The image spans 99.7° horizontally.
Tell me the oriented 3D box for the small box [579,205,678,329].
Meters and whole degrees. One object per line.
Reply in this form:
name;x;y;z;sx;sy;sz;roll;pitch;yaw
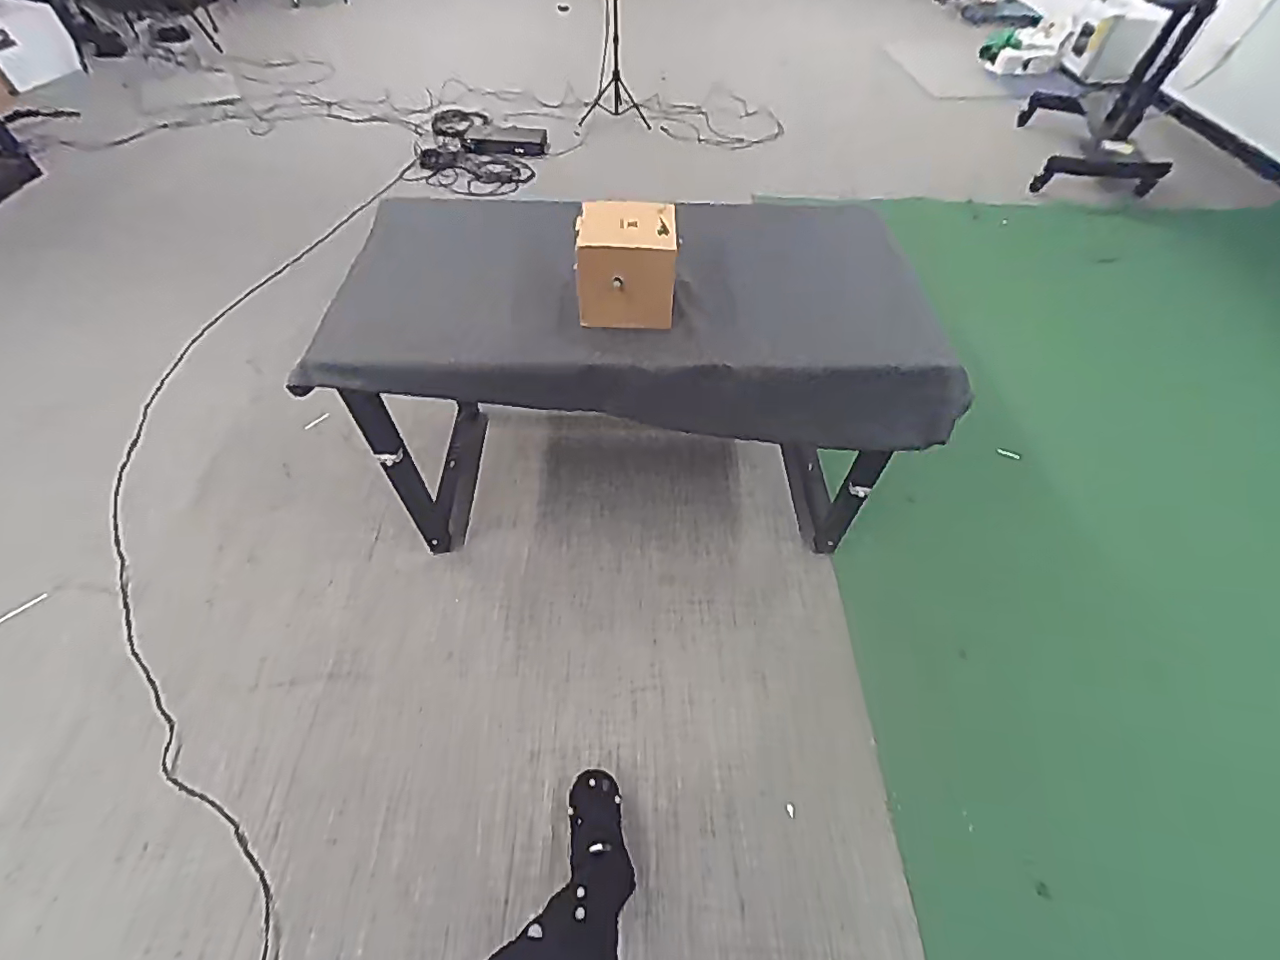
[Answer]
small box;-0.023;-0.409;1.045;0.179;0.176;0.168;0;51;-3
